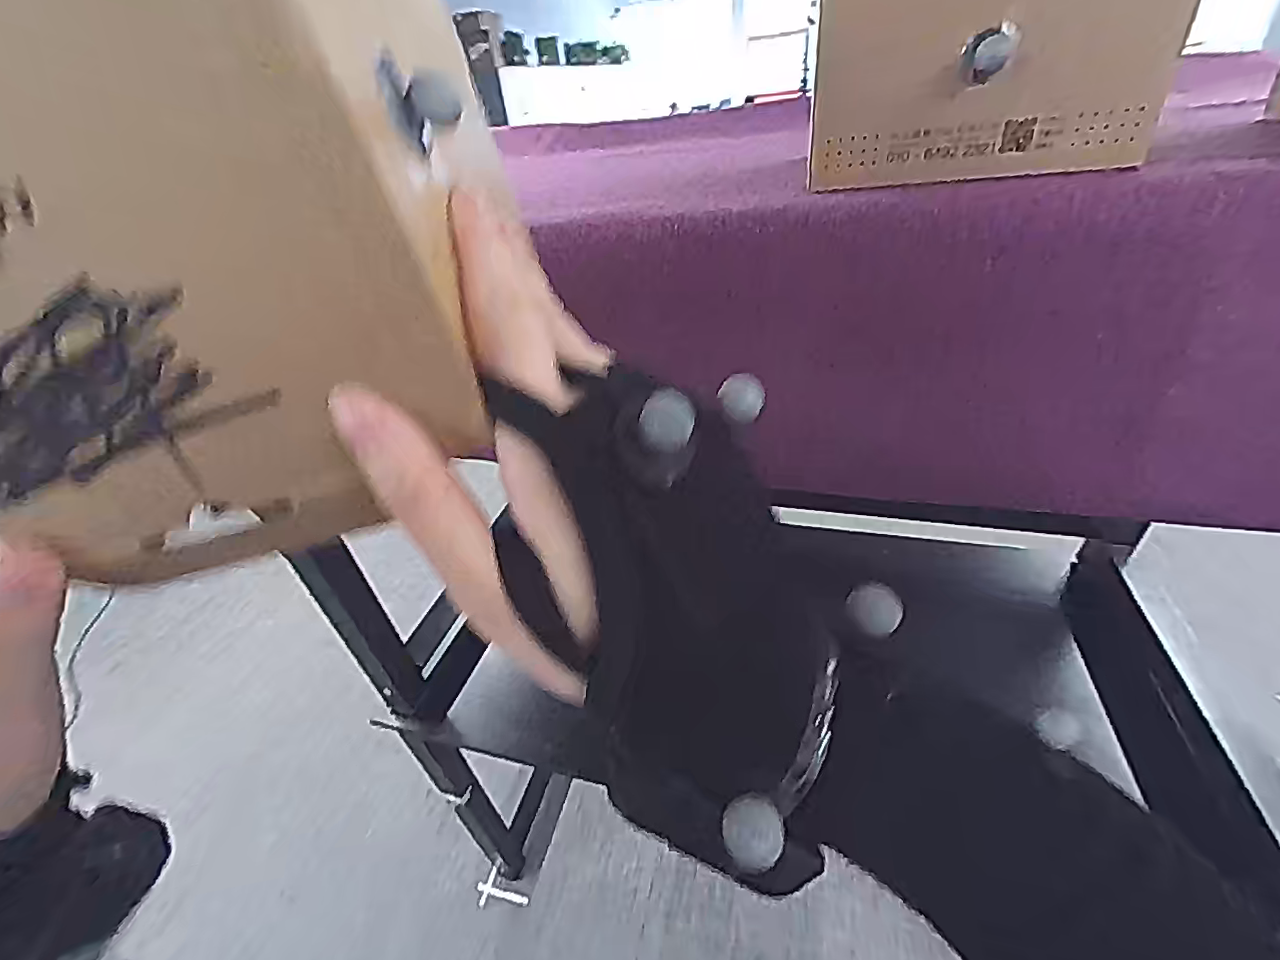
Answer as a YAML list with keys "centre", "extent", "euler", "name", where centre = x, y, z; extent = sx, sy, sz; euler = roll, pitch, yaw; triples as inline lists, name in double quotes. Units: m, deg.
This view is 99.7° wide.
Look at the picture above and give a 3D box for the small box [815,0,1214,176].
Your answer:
- centre: [0.192, -0.280, 0.307]
  extent: [0.168, 0.176, 0.179]
  euler: [3, 37, 16]
  name: "small box"
